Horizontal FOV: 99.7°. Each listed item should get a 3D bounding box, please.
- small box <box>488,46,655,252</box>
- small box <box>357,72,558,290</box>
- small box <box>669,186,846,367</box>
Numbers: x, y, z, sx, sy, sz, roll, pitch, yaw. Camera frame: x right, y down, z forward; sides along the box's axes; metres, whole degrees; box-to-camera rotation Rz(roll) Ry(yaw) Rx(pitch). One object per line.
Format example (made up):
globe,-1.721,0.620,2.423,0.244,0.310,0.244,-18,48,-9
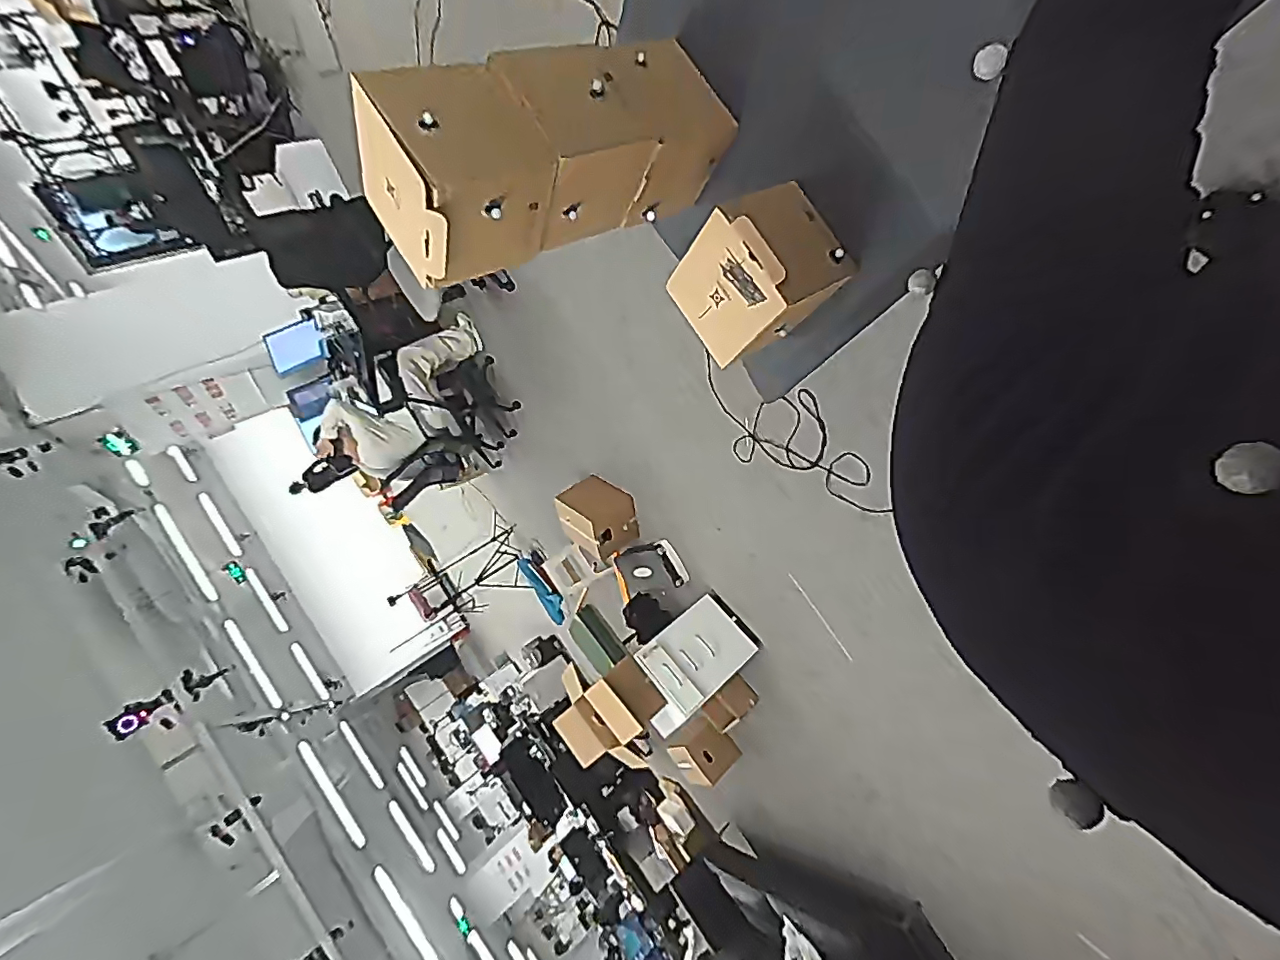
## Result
small box,-0.106,-0.463,0.764,0.168,0.176,0.179,55,151,3
small box,-0.228,-0.385,0.692,0.179,0.176,0.168,54,150,8
small box,0.181,-0.307,0.817,0.168,0.176,0.179,56,152,3
